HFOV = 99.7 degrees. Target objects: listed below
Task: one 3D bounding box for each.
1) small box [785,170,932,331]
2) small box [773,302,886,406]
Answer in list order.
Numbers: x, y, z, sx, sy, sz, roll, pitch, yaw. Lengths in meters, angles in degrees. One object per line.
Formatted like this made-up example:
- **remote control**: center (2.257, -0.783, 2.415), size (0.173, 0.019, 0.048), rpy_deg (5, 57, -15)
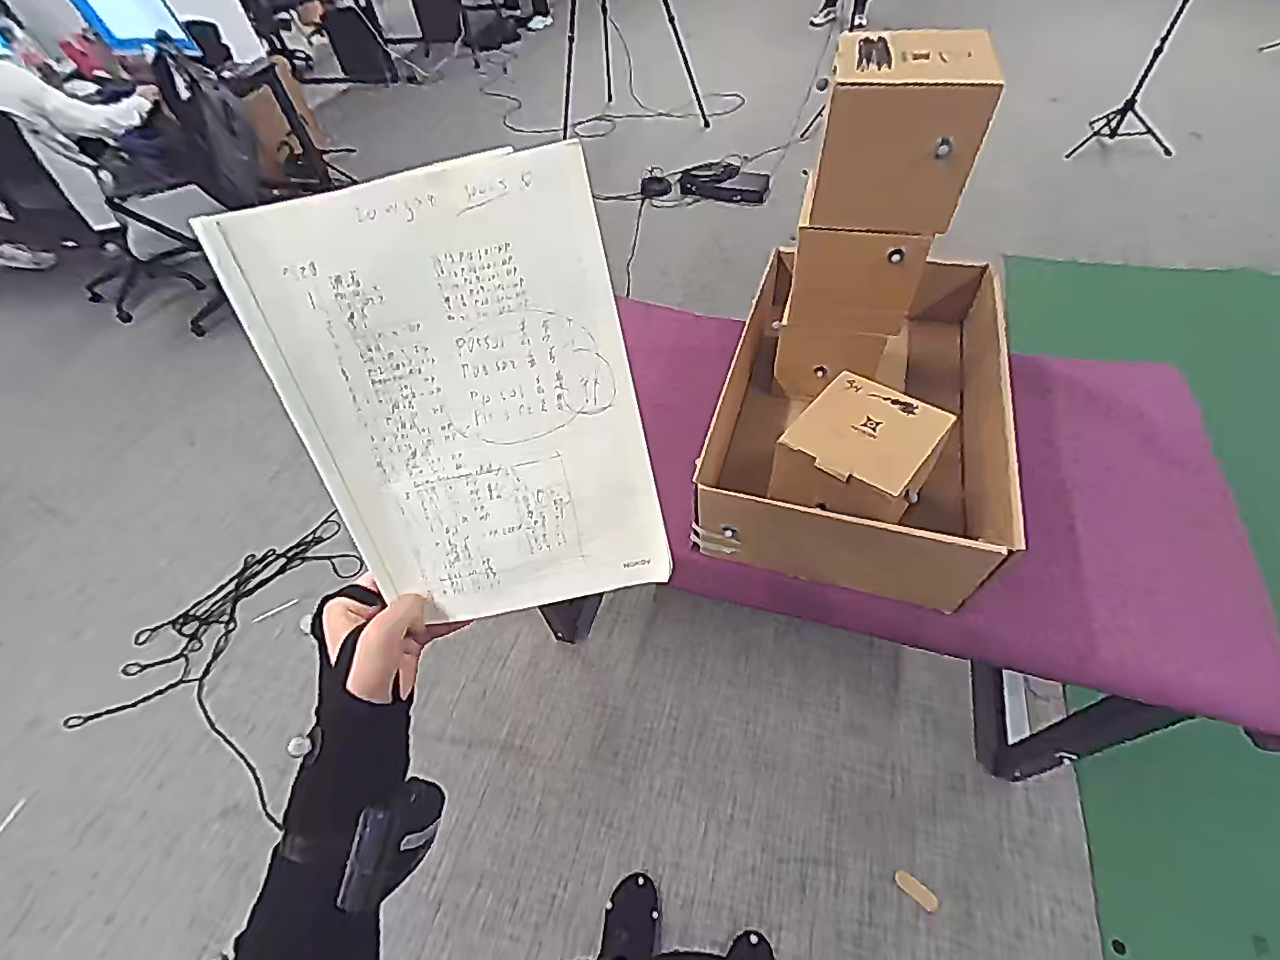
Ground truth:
- **small box**: center (0.325, -0.347, 0.825), size (0.179, 0.176, 0.168), rpy_deg (10, 56, 14)
- **small box**: center (0.337, -0.255, 0.957), size (0.168, 0.176, 0.179), rpy_deg (12, 57, 15)
